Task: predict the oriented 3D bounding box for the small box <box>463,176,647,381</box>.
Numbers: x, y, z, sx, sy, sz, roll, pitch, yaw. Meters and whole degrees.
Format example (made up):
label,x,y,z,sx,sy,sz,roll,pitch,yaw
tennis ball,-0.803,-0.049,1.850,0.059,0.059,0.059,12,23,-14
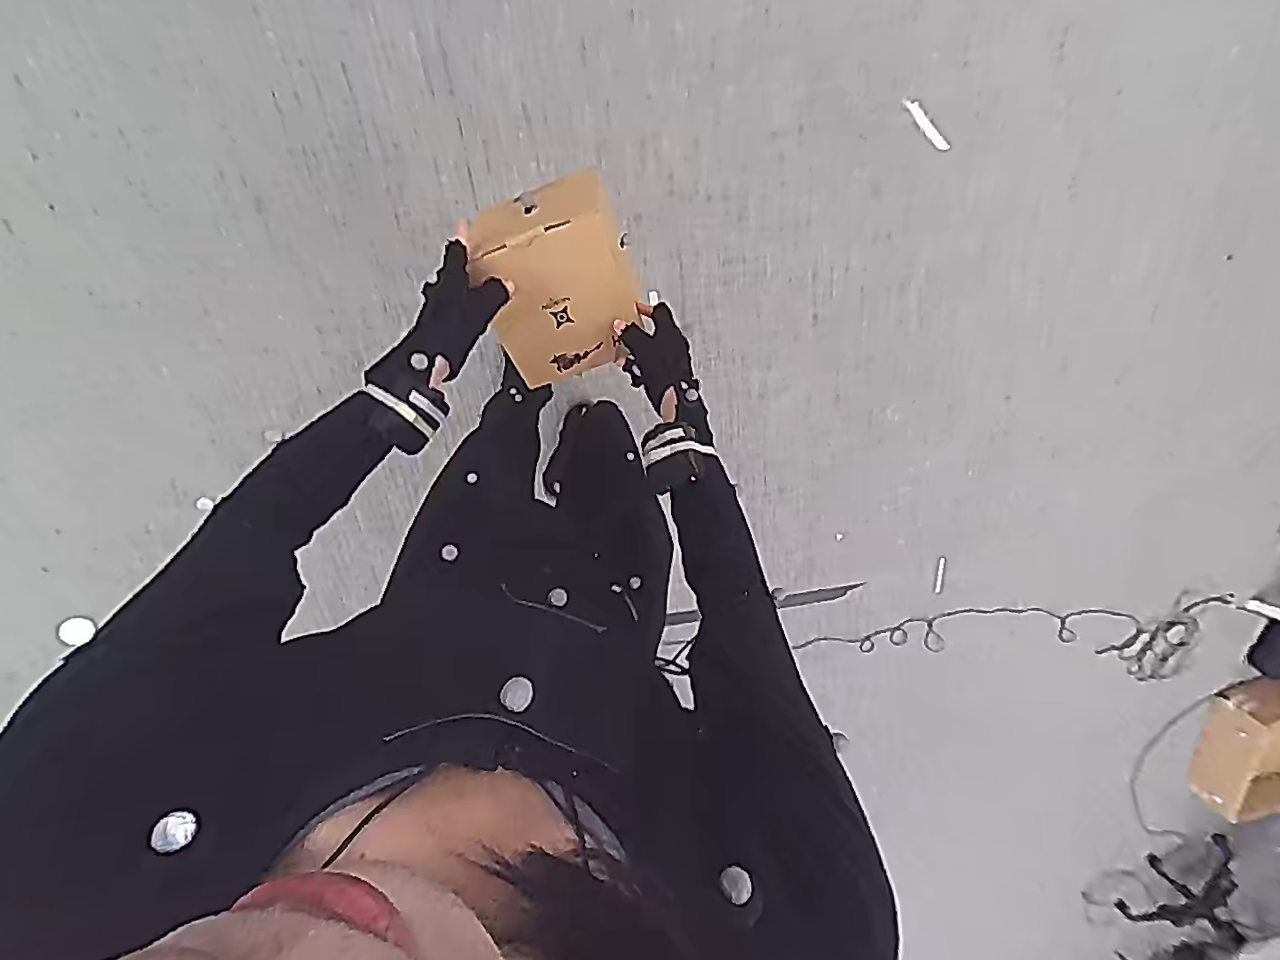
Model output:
label,x,y,z,sx,sy,sz,roll,pitch,yaw
small box,-0.098,-0.260,0.684,0.168,0.176,0.179,-16,132,9
